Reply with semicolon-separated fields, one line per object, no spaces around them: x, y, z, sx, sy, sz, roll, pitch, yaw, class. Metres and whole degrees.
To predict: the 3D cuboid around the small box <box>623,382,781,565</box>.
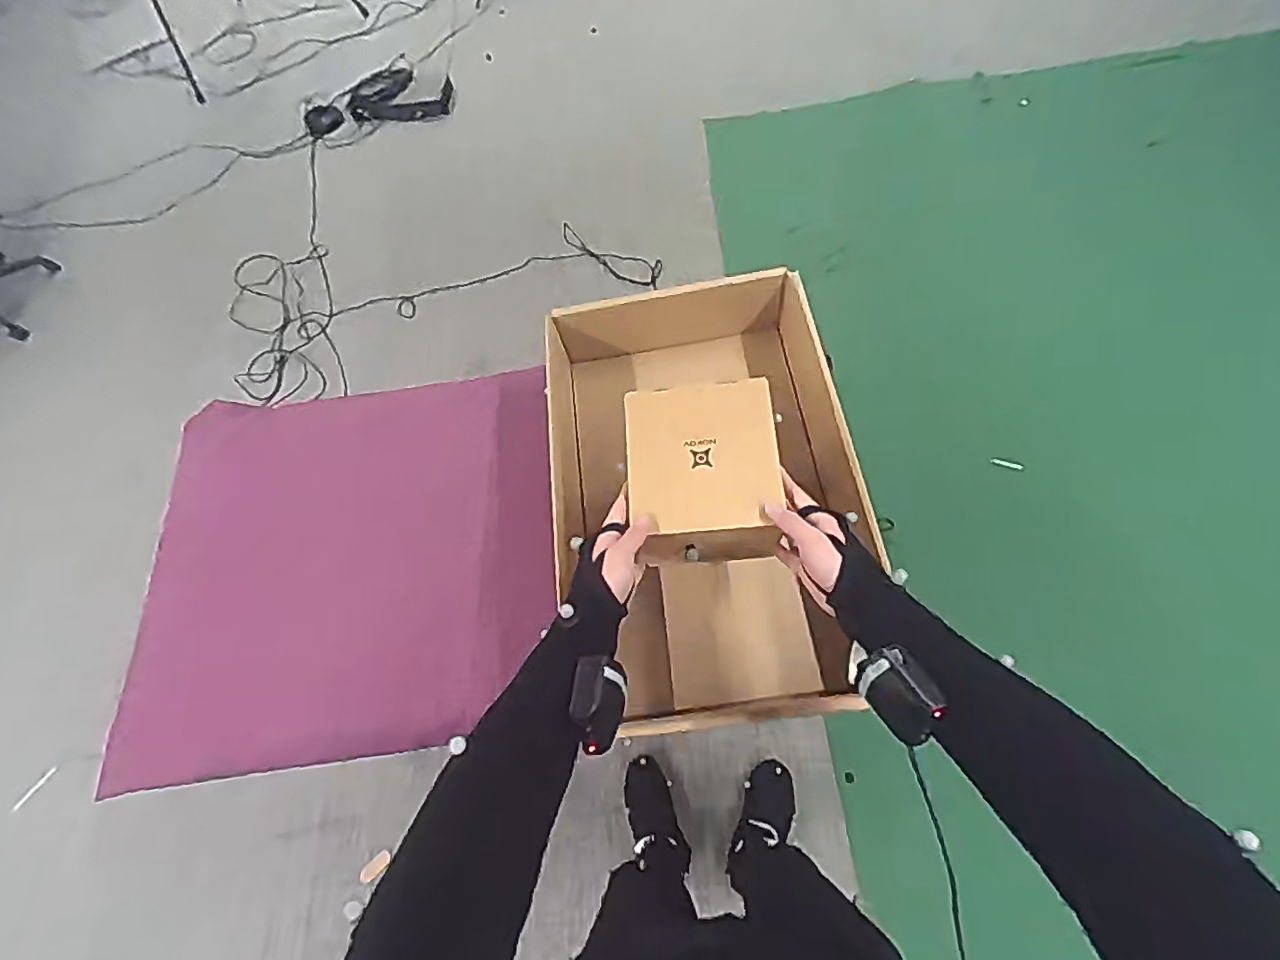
0.076;0.004;0.668;0.168;0.176;0.179;-5;68;7;small box
